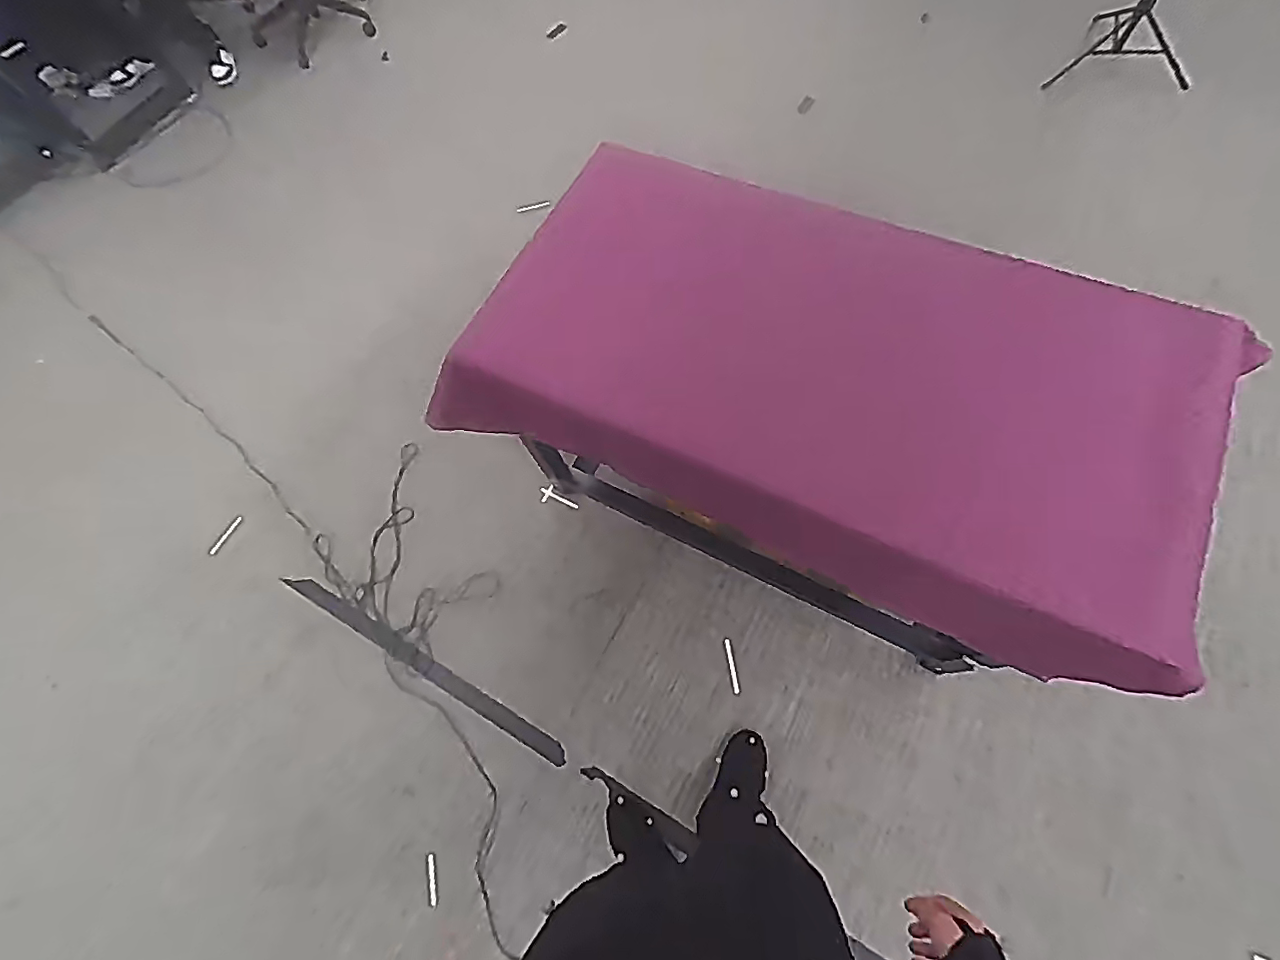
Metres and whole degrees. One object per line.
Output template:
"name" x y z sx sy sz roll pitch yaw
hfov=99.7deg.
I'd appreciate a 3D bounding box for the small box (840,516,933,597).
"small box" 0.639 0.205 1.424 0.168 0.176 0.179 -3 67 6
